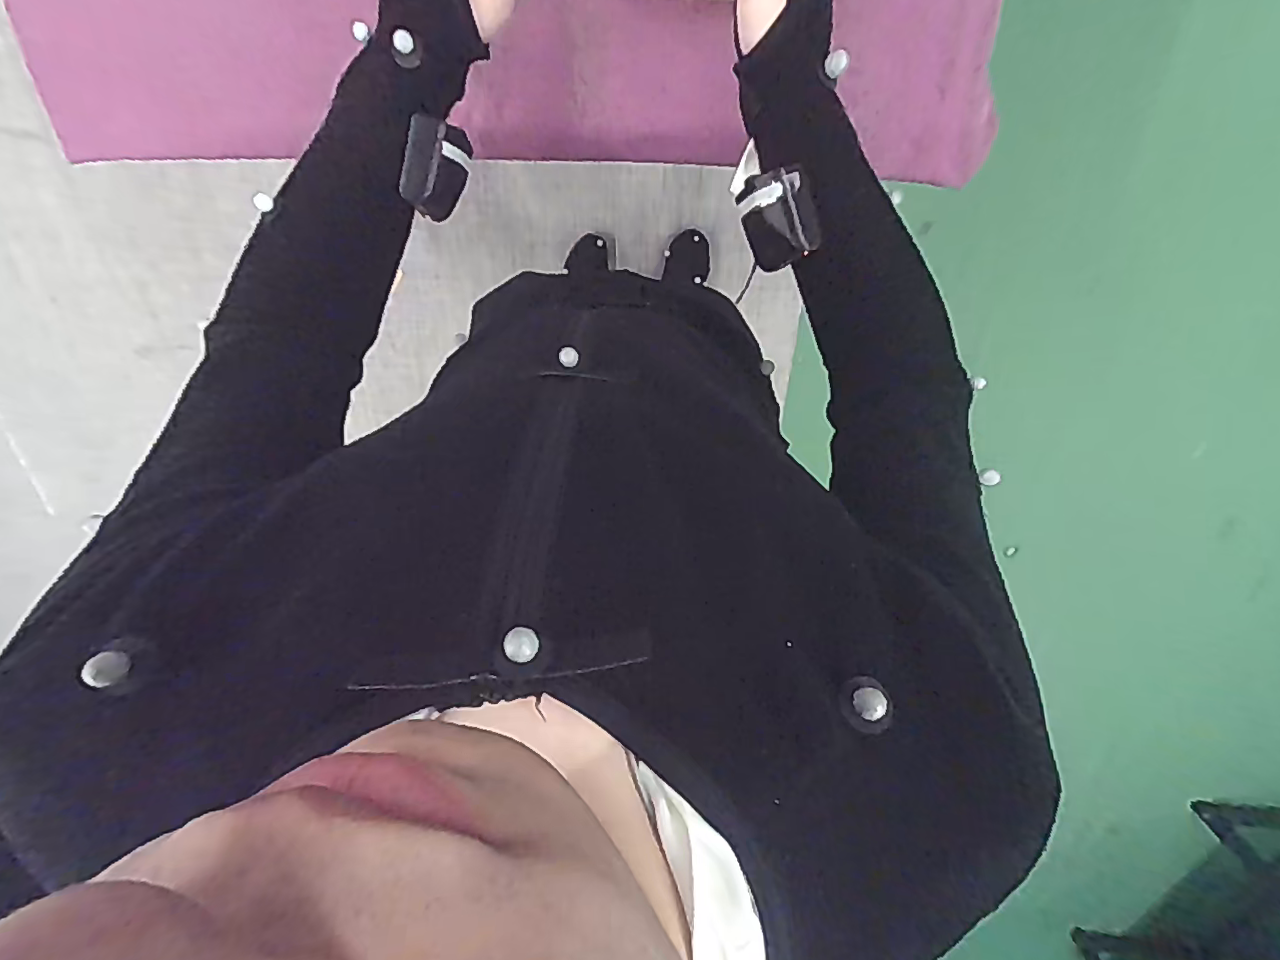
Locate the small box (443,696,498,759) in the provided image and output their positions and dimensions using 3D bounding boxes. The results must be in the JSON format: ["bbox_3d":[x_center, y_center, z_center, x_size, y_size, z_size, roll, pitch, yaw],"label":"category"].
[{"bbox_3d":[-0.677,0.999,2.186,0.179,0.176,0.168,3,117,0],"label":"small box"}]

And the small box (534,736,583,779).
[{"bbox_3d":[-0.346,1.213,2.279,0.179,0.176,0.168,10,117,-3],"label":"small box"}]
